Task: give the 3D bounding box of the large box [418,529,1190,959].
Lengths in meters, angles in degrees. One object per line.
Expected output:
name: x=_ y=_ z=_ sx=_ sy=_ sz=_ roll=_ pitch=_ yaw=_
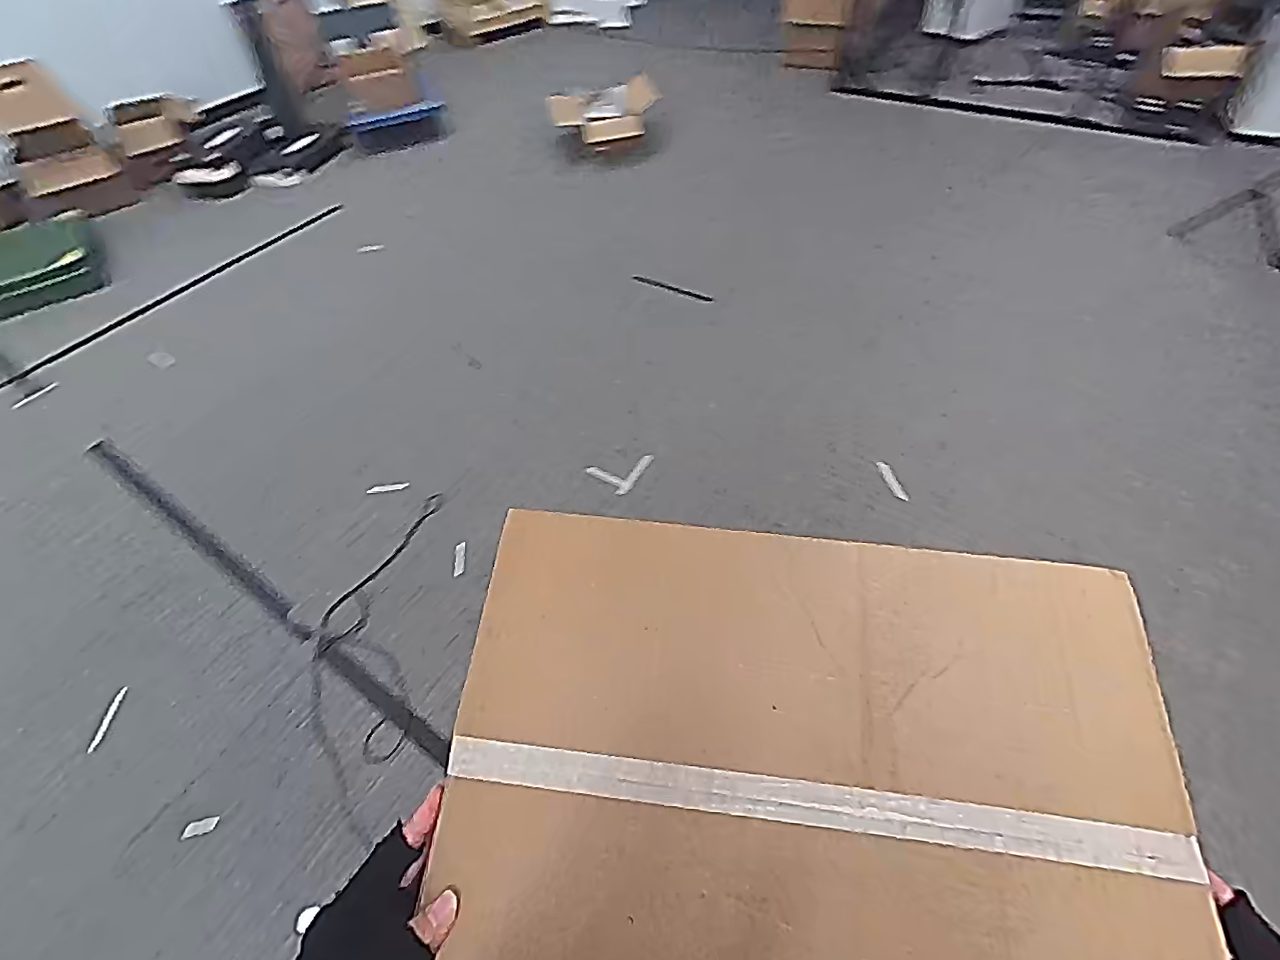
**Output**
large box: x=0.091 y=0.247 z=0.446 sx=0.408 sy=0.320 sz=0.320 roll=4 pitch=67 yaw=5
